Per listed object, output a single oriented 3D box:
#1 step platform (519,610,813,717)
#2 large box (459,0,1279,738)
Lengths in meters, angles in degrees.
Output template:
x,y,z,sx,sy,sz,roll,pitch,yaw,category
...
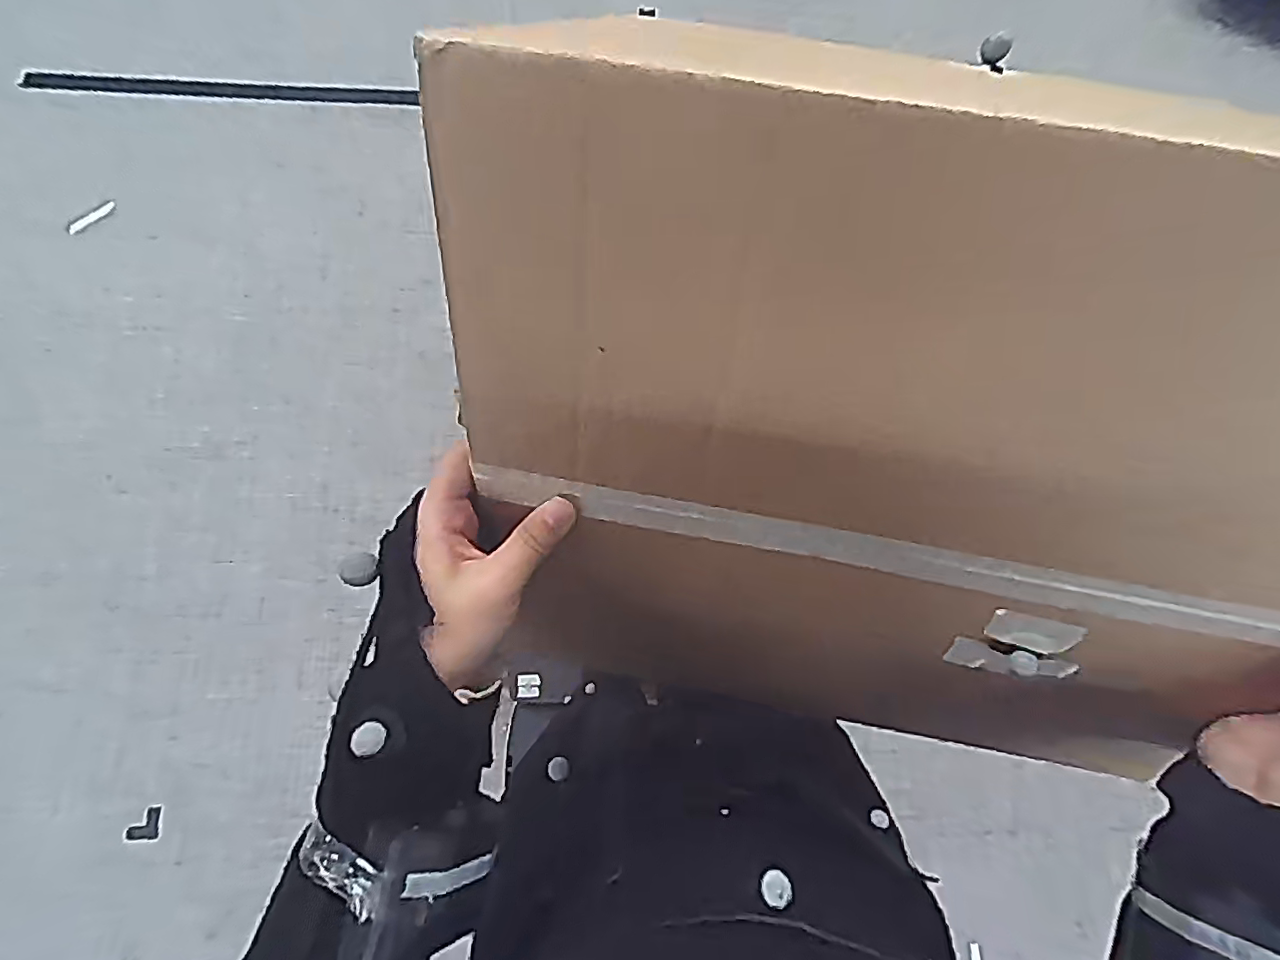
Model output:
x,y,z,sx,sy,sz,roll,pitch,yaw,category
0.062,0.368,1.282,0.684,0.204,0.286,7,80,-3,step platform
0.154,-0.088,0.341,0.408,0.320,0.320,9,42,3,large box
